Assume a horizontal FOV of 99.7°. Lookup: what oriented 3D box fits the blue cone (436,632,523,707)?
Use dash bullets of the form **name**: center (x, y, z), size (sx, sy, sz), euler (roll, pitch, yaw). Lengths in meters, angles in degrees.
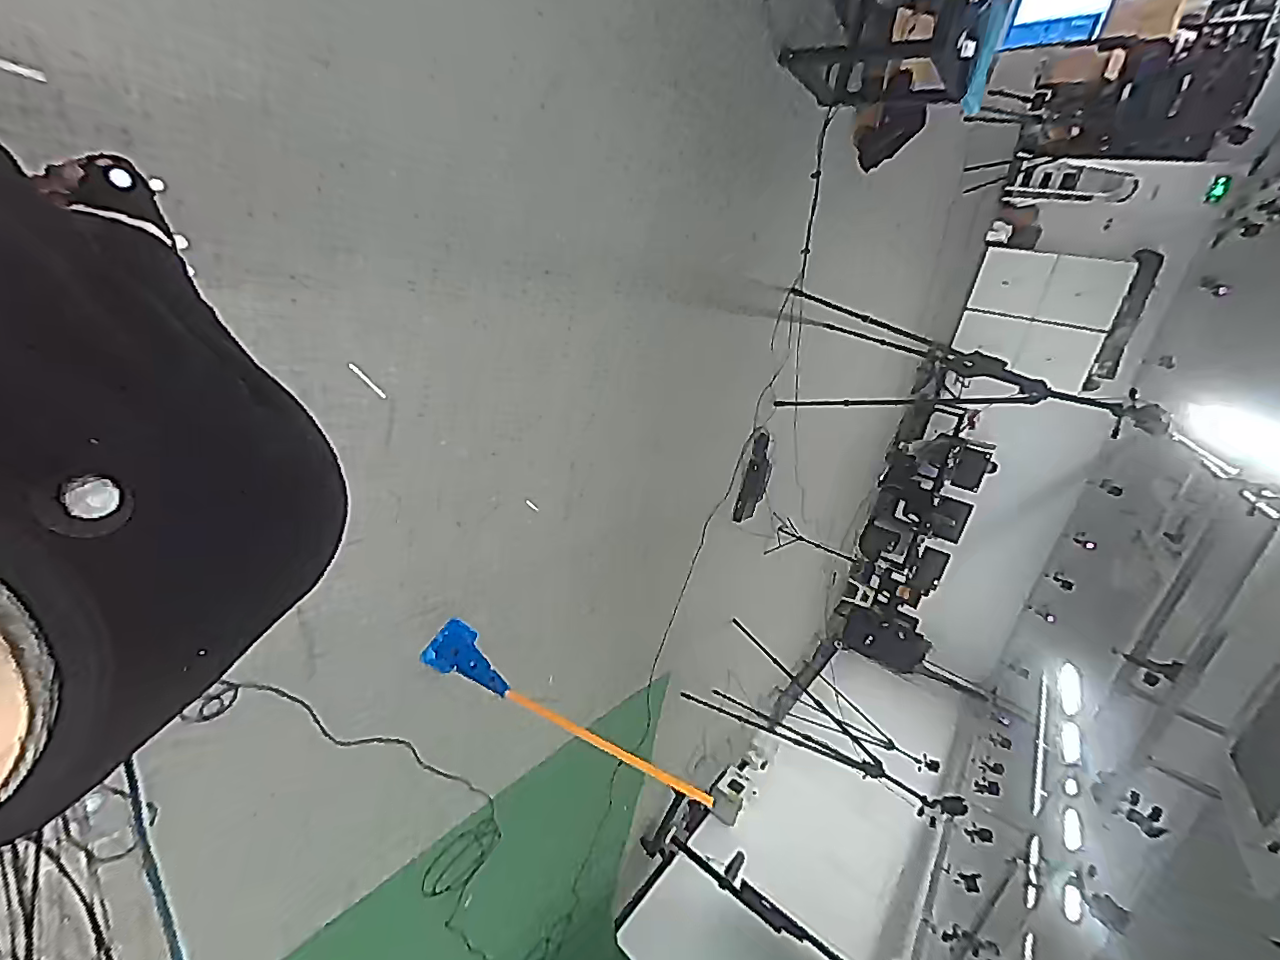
- **blue cone**: center (-0.588, 0.757, 2.074), size (0.193, 0.380, 0.192), euler (-56, 145, -20)
